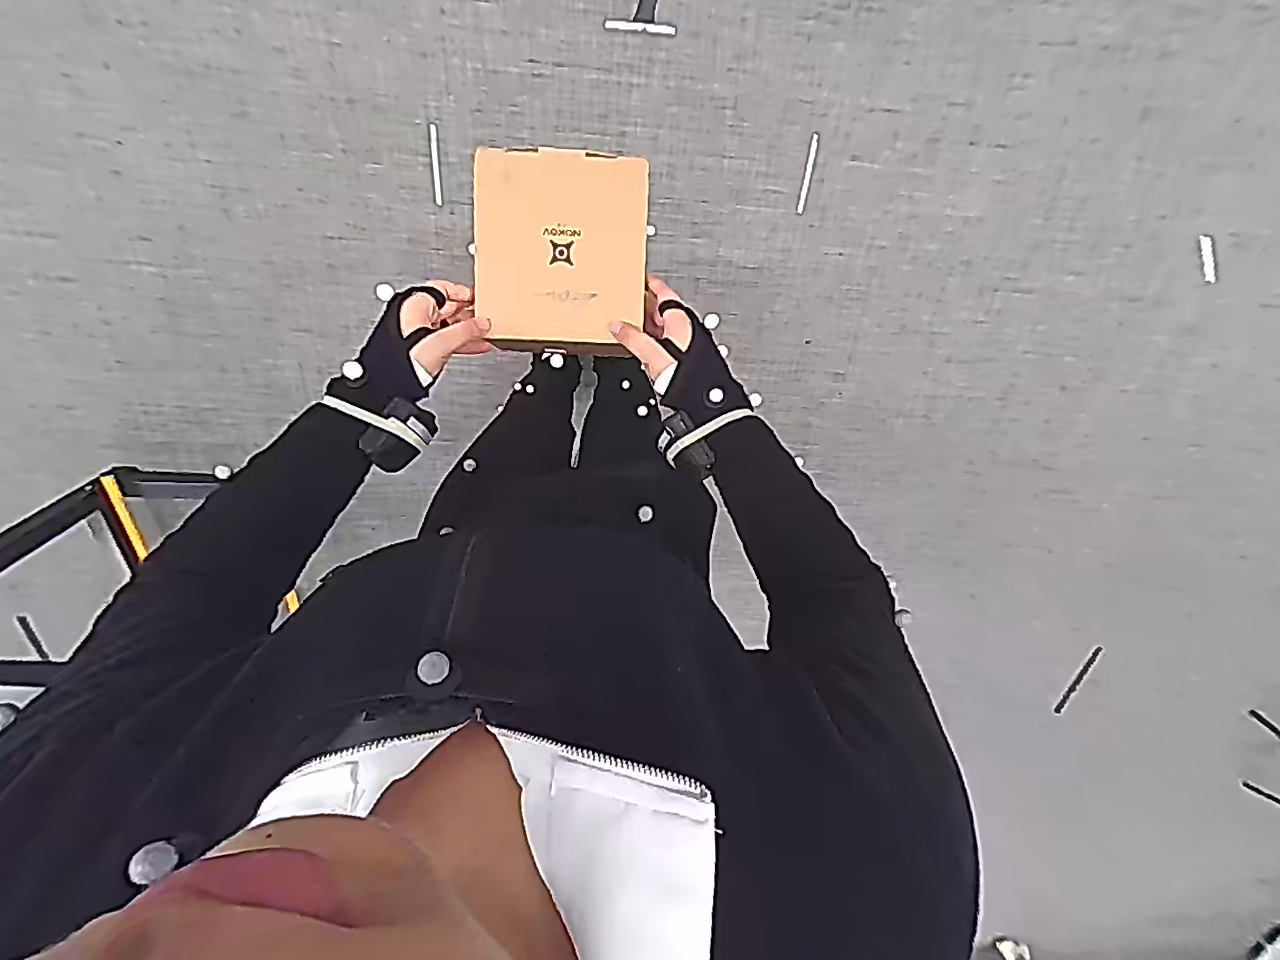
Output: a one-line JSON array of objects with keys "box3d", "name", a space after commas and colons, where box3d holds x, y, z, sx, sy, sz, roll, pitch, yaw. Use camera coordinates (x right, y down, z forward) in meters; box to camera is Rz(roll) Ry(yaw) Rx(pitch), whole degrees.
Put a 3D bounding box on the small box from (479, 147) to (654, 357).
[{"box3d": [-0.078, -0.233, 0.597, 0.168, 0.176, 0.179, 1, 100, -5], "name": "small box"}]
